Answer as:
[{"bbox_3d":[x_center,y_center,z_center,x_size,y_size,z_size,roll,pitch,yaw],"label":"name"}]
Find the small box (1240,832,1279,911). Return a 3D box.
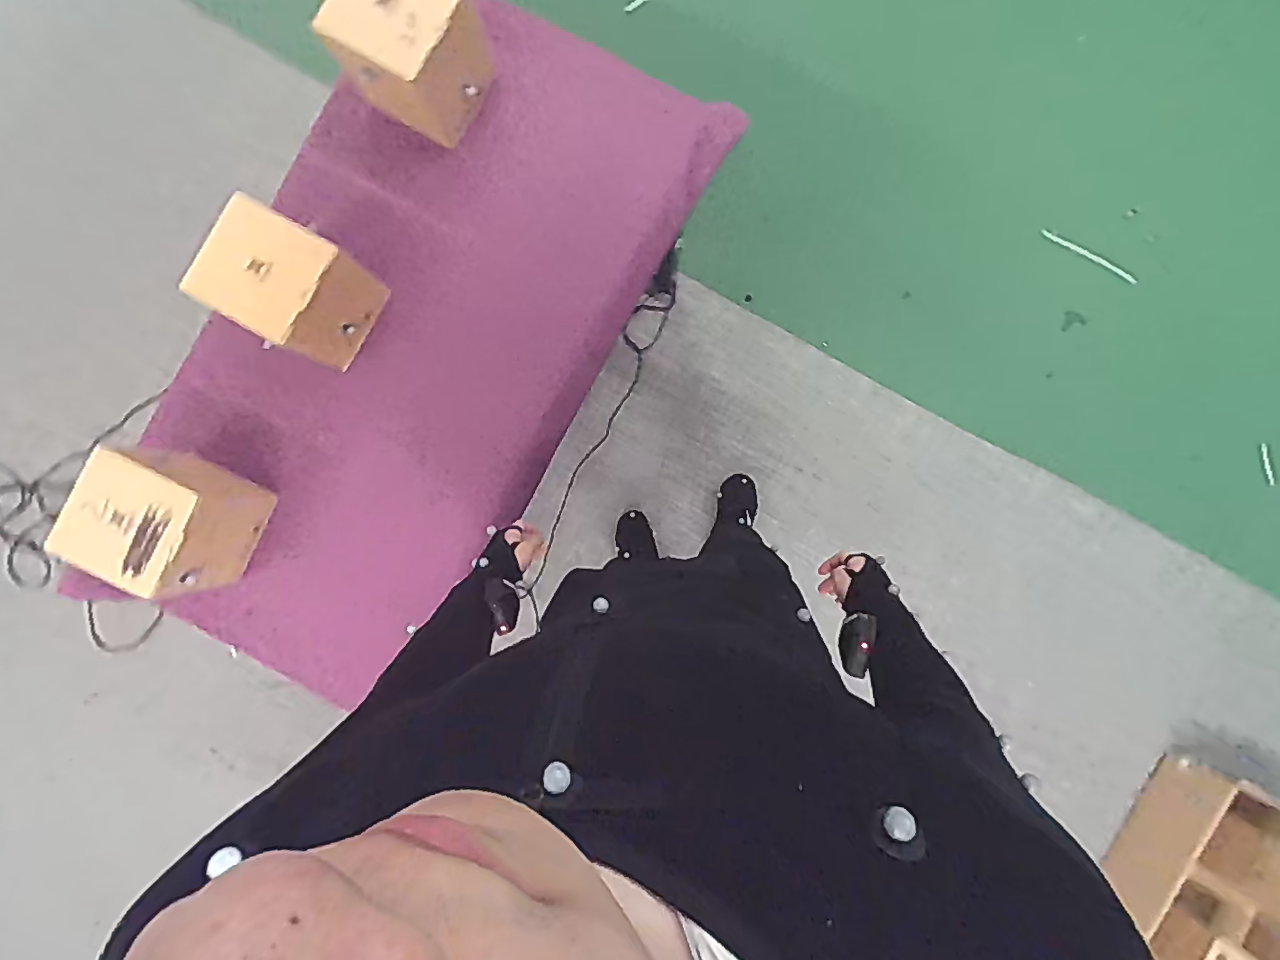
[{"bbox_3d":[1.646,1.001,1.305,0.179,0.176,0.168,28,88,1],"label":"small box"}]

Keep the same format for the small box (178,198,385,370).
[{"bbox_3d":[-0.551,-0.295,0.857,0.179,0.176,0.168,29,88,0],"label":"small box"}]

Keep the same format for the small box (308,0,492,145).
[{"bbox_3d":[-0.368,-0.684,0.861,0.179,0.176,0.168,30,91,1],"label":"small box"}]
